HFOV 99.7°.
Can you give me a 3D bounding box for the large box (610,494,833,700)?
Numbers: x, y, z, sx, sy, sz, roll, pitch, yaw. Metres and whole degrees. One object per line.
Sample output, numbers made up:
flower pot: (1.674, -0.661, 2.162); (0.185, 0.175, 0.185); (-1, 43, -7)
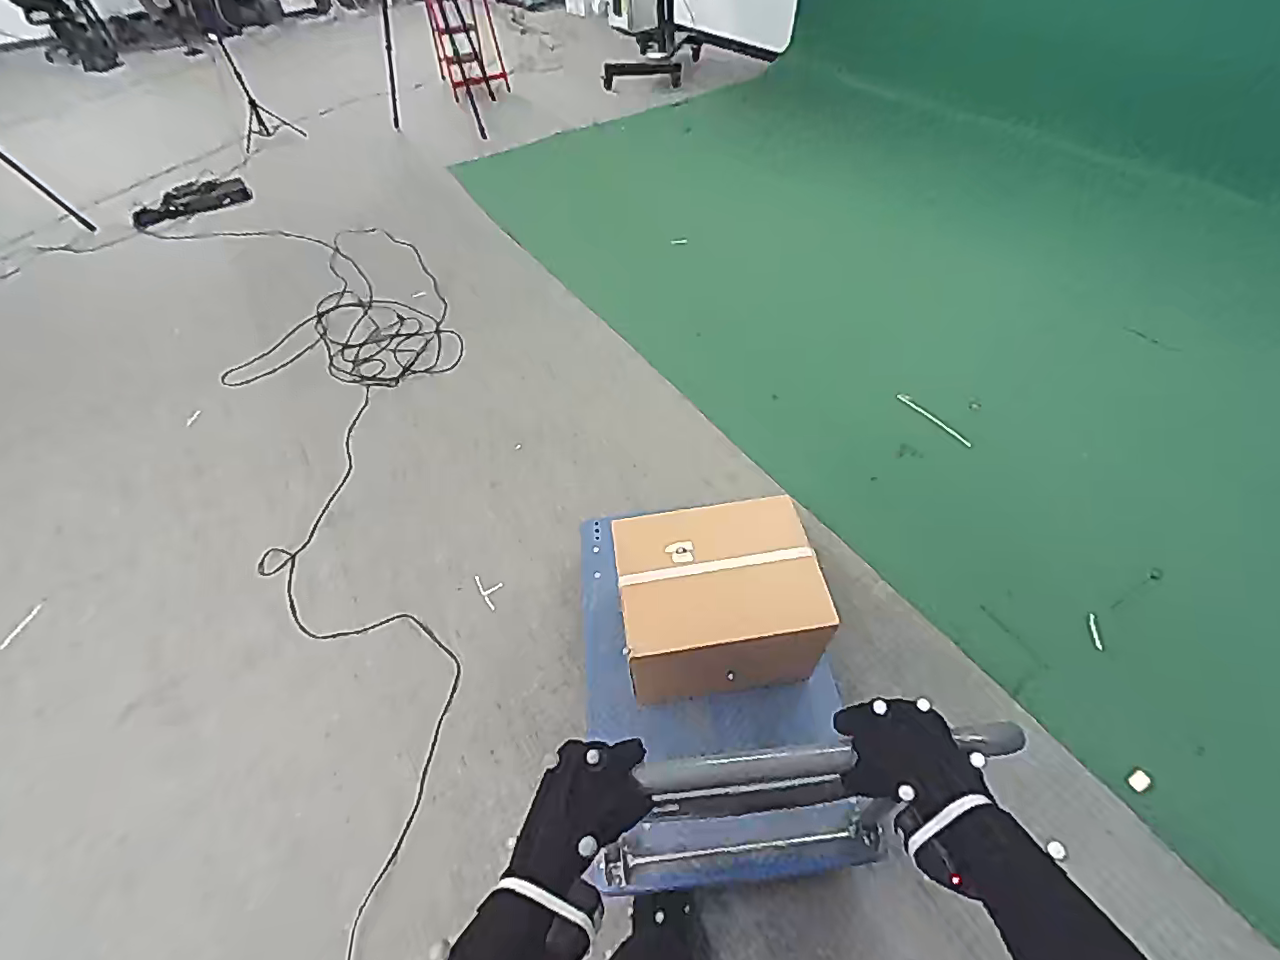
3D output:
large box: (0.161, 0.271, 1.226); (0.408, 0.320, 0.320); (-9, 51, -3)
